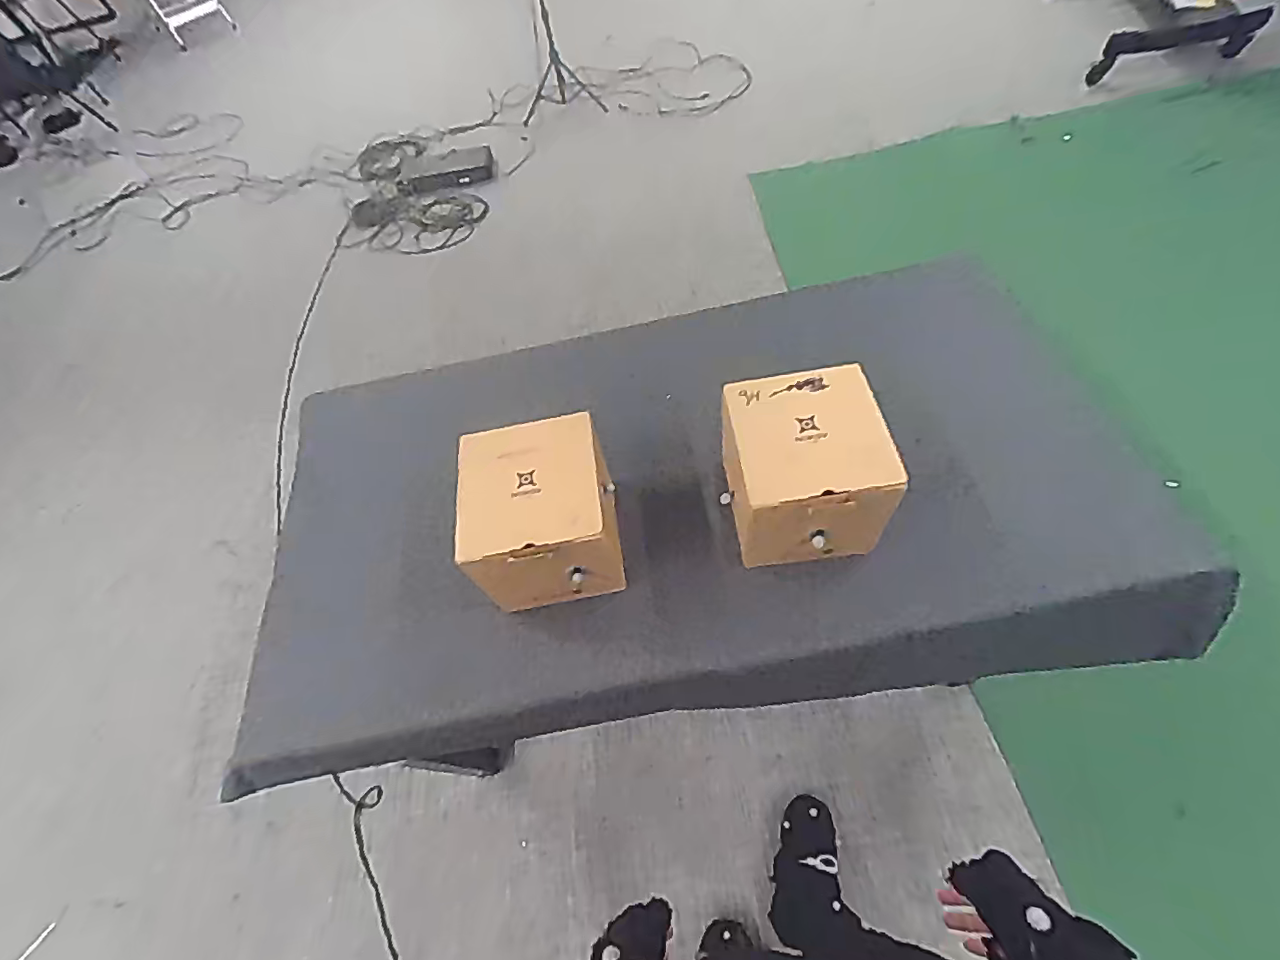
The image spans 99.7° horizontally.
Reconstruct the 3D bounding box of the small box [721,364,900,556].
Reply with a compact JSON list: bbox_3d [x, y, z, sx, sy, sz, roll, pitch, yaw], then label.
[{"bbox_3d":[0.199,-0.015,0.682,0.168,0.176,0.179,-9,59,4],"label":"small box"}]

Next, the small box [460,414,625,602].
[{"bbox_3d":[-0.119,0.046,0.702,0.168,0.176,0.179,-12,57,1],"label":"small box"}]
